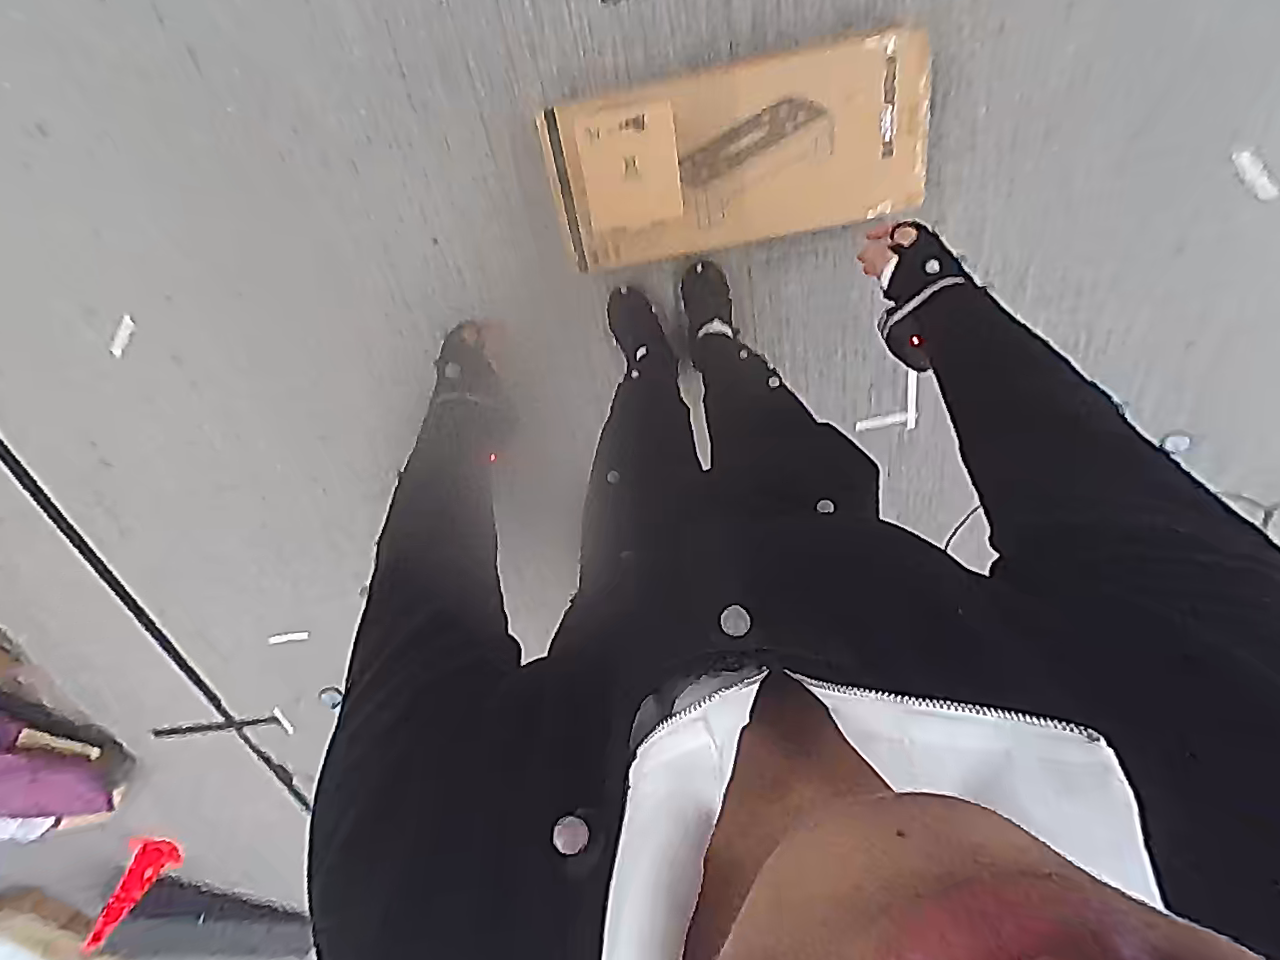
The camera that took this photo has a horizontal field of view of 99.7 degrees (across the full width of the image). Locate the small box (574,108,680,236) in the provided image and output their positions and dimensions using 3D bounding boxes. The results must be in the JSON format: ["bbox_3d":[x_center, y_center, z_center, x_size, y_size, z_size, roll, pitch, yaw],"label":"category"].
[{"bbox_3d":[-0.018,-0.564,0.996,0.168,0.176,0.179,-8,119,3],"label":"small box"}]
